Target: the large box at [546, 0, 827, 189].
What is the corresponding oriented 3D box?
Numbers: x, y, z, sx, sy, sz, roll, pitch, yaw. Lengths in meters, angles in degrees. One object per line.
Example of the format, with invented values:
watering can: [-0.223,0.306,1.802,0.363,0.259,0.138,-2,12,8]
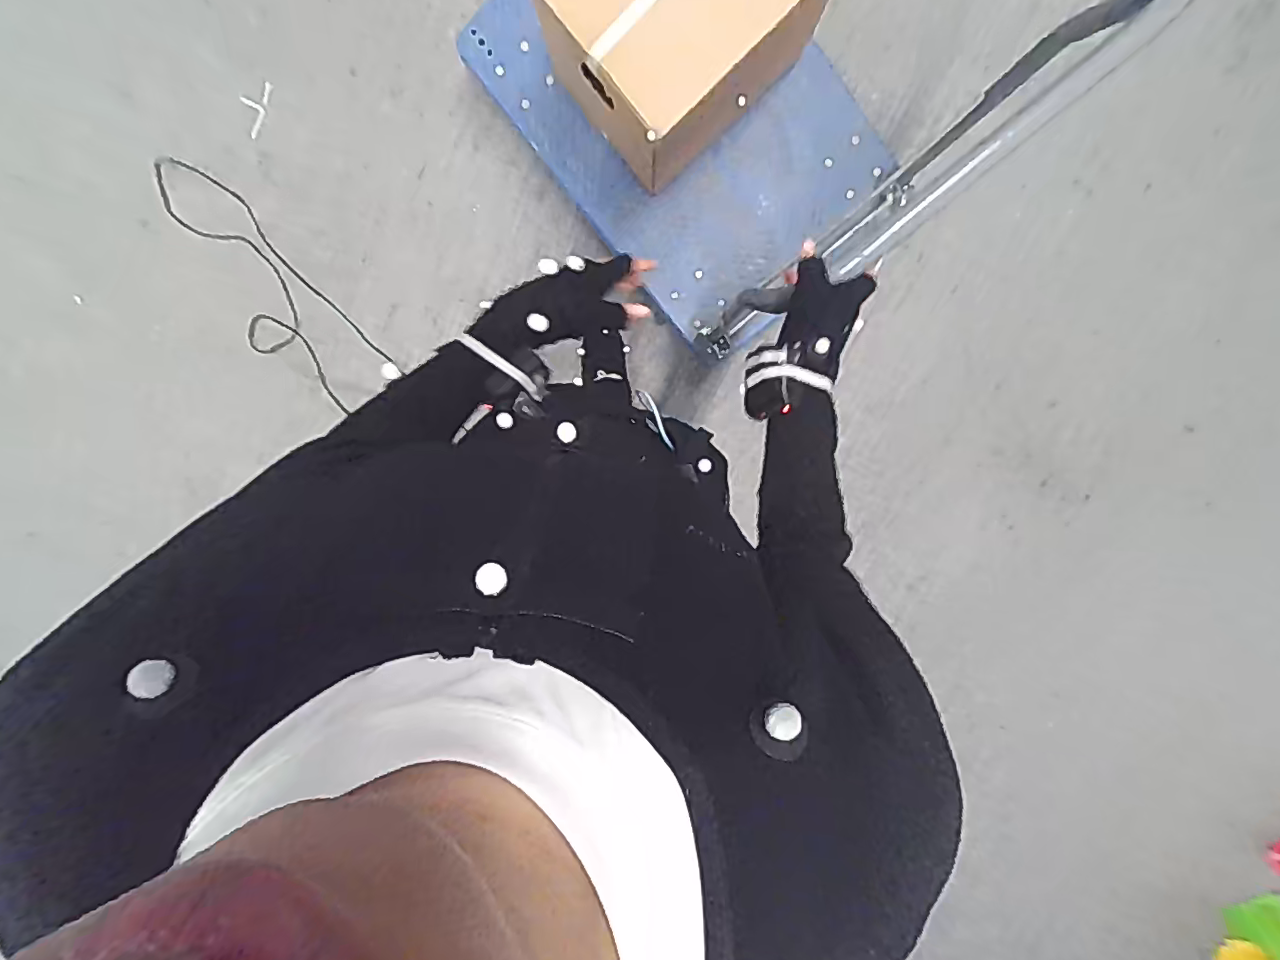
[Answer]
large box: [0.095,-0.828,0.968,0.408,0.320,0.320,-42,97,10]
